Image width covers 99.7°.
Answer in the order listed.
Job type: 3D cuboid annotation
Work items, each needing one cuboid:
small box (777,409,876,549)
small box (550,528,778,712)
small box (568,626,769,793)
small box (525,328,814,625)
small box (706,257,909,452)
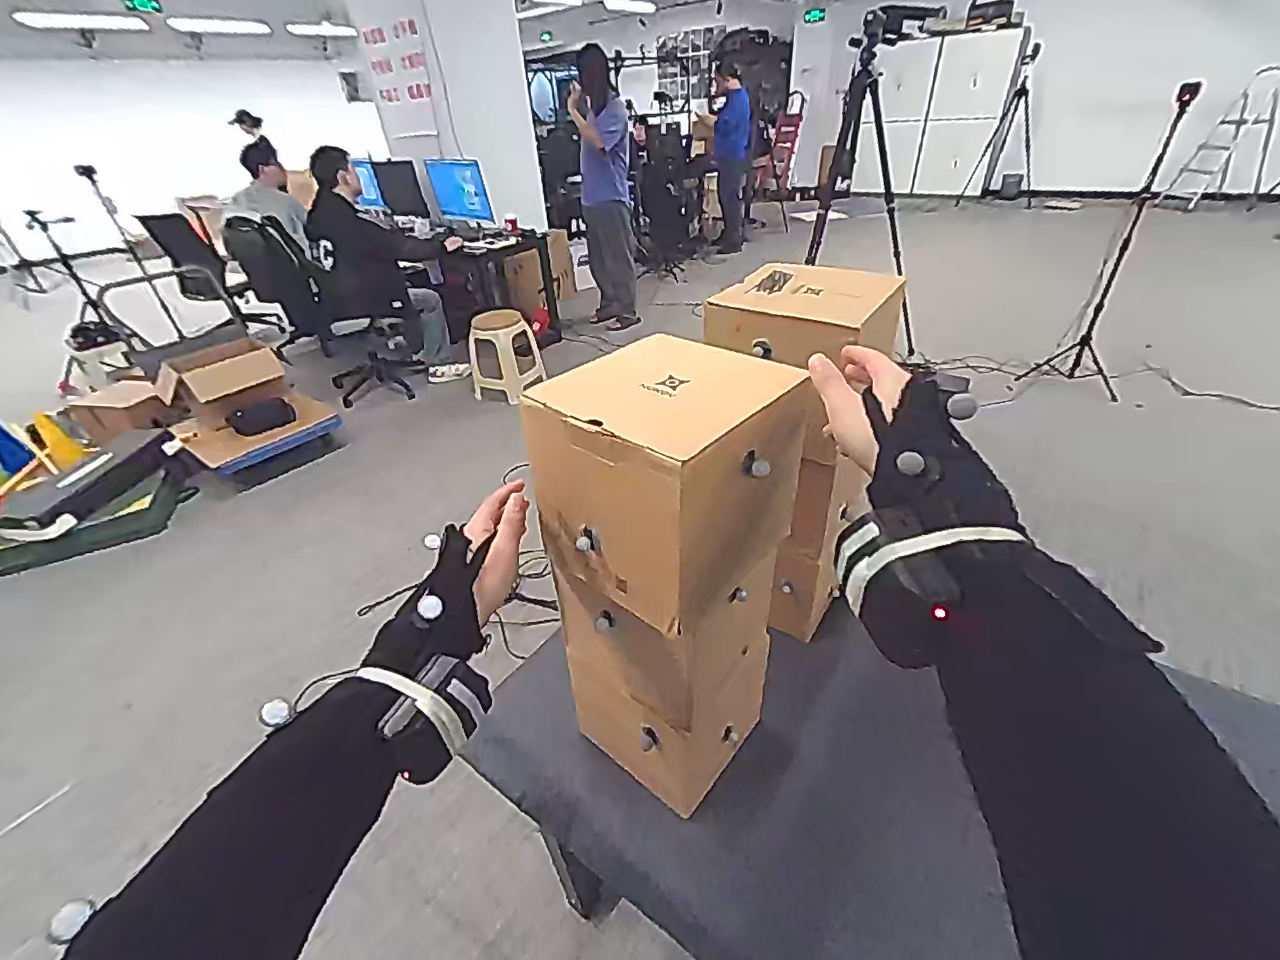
[{"bbox_3d":[0.208,-0.030,0.761,0.179,0.176,0.168,20,45,28],"label":"small box"},{"bbox_3d":[0.029,0.109,0.582,0.179,0.176,0.168,21,41,31],"label":"small box"},{"bbox_3d":[0.036,0.247,0.670,0.179,0.176,0.168,24,42,34],"label":"small box"},{"bbox_3d":[0.026,-0.013,0.471,0.168,0.176,0.179,25,43,34],"label":"small box"},{"bbox_3d":[0.194,-0.155,0.655,0.179,0.176,0.168,22,45,30],"label":"small box"}]
